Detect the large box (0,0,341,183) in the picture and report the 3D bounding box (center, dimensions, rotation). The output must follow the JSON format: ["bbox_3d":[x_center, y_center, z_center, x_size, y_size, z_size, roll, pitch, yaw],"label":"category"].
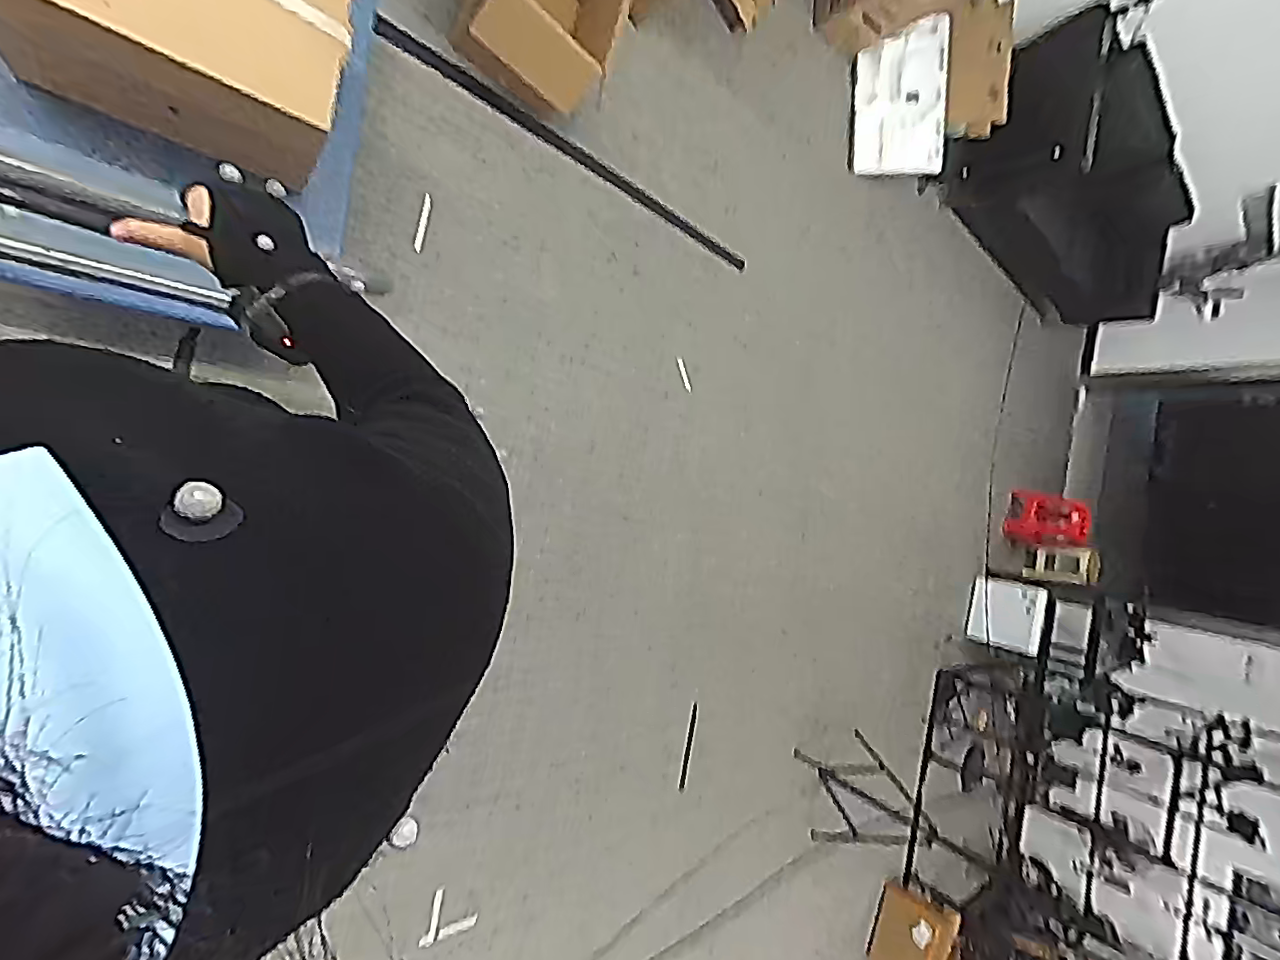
[{"bbox_3d":[-0.741,-0.763,0.877,0.408,0.320,0.320,9,88,-39],"label":"large box"}]
